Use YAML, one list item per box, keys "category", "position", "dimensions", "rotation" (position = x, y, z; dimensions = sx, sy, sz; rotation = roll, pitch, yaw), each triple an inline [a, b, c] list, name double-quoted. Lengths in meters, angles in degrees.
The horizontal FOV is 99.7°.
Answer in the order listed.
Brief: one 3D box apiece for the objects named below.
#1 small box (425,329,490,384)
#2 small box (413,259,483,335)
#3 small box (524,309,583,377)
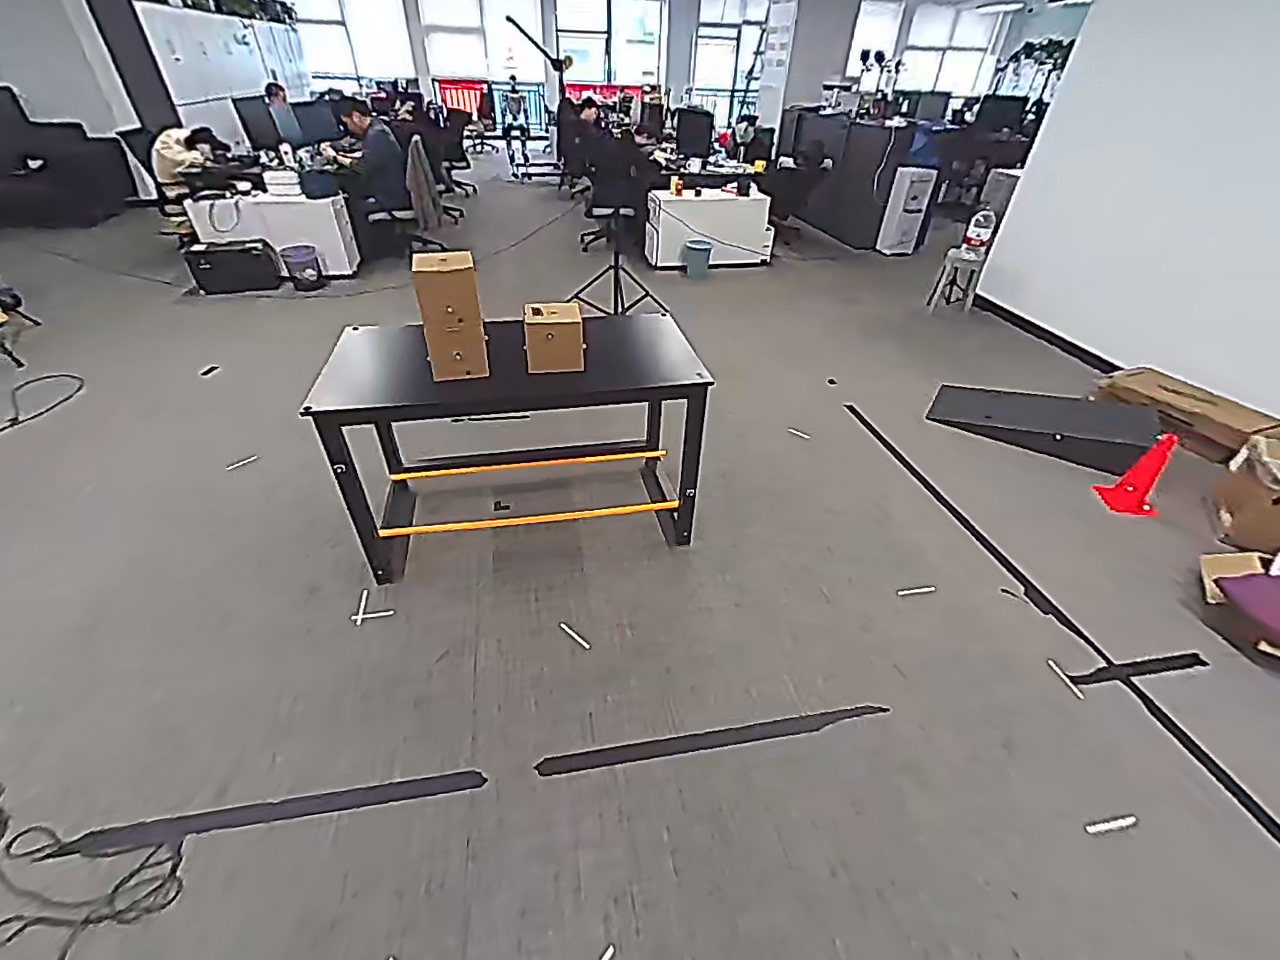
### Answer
- category: "small box"
  position: [-0.573, -0.412, 1.709]
  dimensions: [0.168, 0.176, 0.179]
  rotation: [-9, 39, -13]
- category: "small box"
  position: [-0.570, -0.547, 1.612]
  dimensions: [0.168, 0.176, 0.179]
  rotation: [-10, 39, -14]
- category: "small box"
  position: [-0.281, -0.446, 1.762]
  dimensions: [0.179, 0.176, 0.168]
  rotation: [-5, 38, -9]
